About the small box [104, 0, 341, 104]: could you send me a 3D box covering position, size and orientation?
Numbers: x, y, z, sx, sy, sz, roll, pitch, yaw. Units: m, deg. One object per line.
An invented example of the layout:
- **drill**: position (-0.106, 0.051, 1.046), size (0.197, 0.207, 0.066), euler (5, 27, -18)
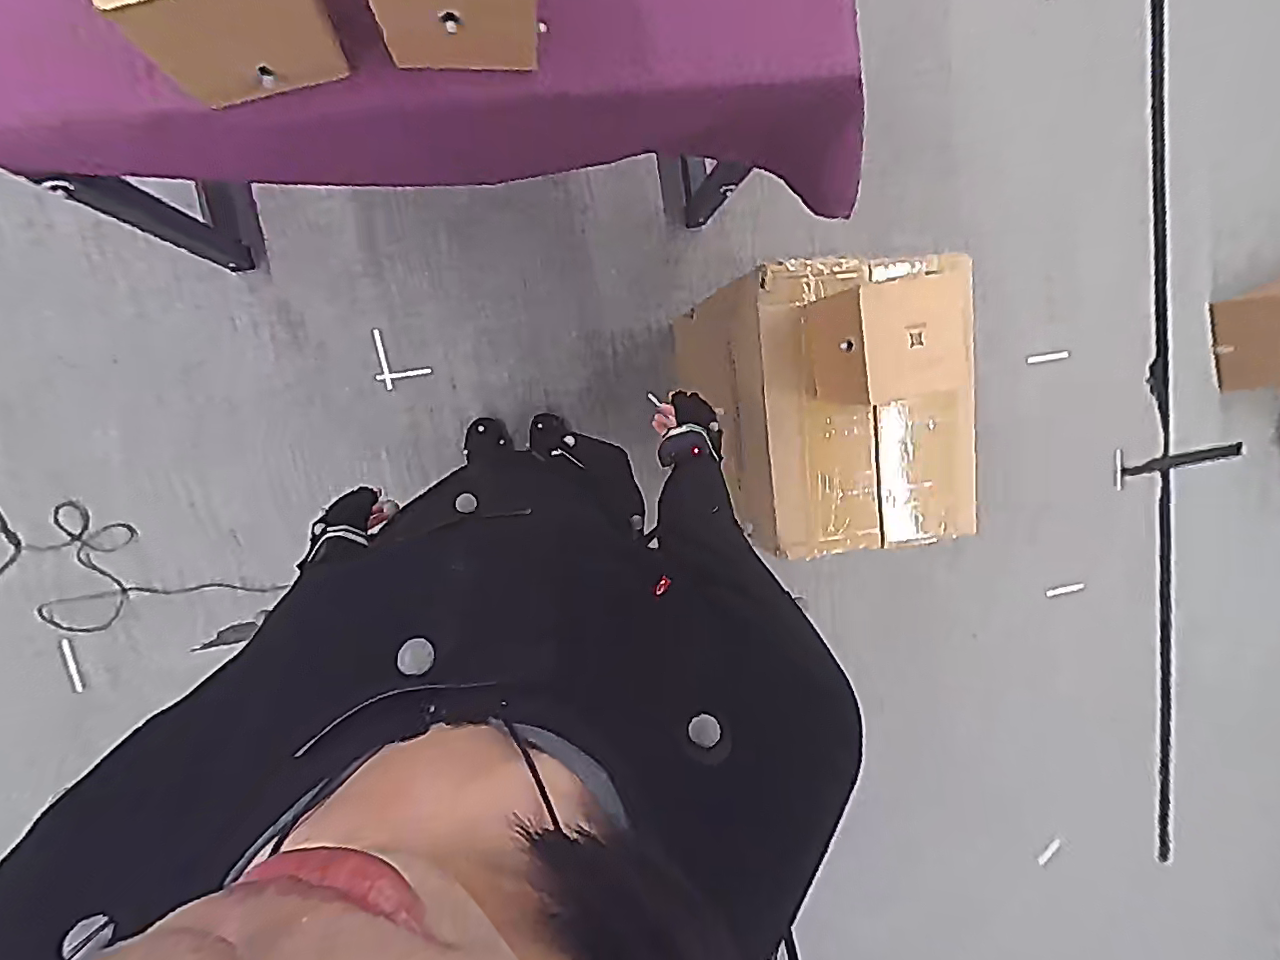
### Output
- **small box**: position (-0.441, -0.538, 0.564), size (0.179, 0.176, 0.168), euler (-20, 99, -9)

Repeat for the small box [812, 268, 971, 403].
- **small box**: position (0.391, -0.221, 0.864), size (0.168, 0.176, 0.179), euler (-11, 100, -6)

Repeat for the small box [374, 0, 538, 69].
- **small box**: position (-0.206, -0.596, 0.600), size (0.179, 0.176, 0.168), euler (-6, 97, -9)
